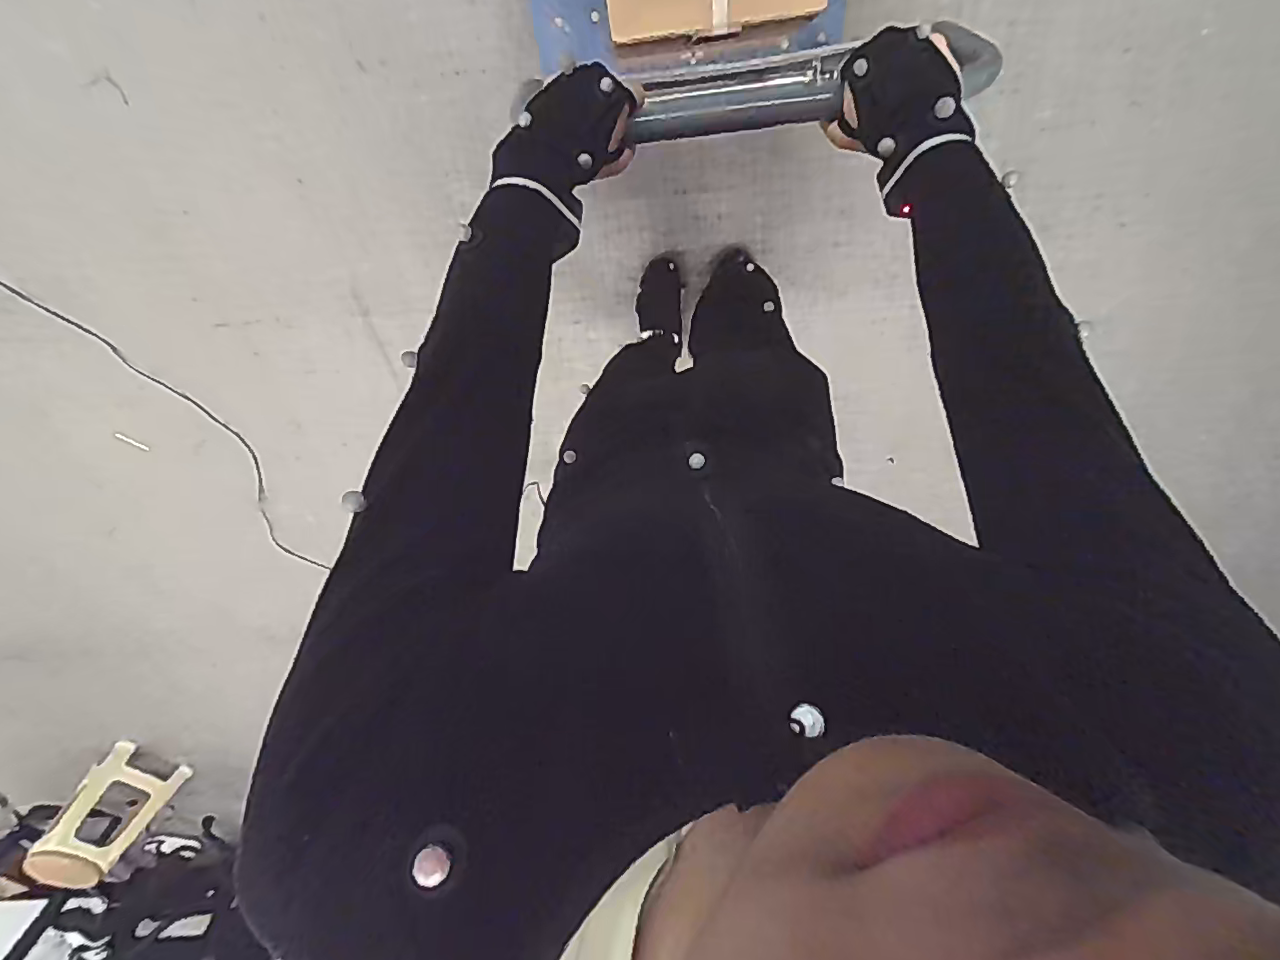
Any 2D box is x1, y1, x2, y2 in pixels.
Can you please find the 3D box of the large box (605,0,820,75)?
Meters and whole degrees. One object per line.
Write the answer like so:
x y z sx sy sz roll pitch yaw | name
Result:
0.088 -0.907 0.825 0.320 0.320 0.408 -6 120 4 | large box
